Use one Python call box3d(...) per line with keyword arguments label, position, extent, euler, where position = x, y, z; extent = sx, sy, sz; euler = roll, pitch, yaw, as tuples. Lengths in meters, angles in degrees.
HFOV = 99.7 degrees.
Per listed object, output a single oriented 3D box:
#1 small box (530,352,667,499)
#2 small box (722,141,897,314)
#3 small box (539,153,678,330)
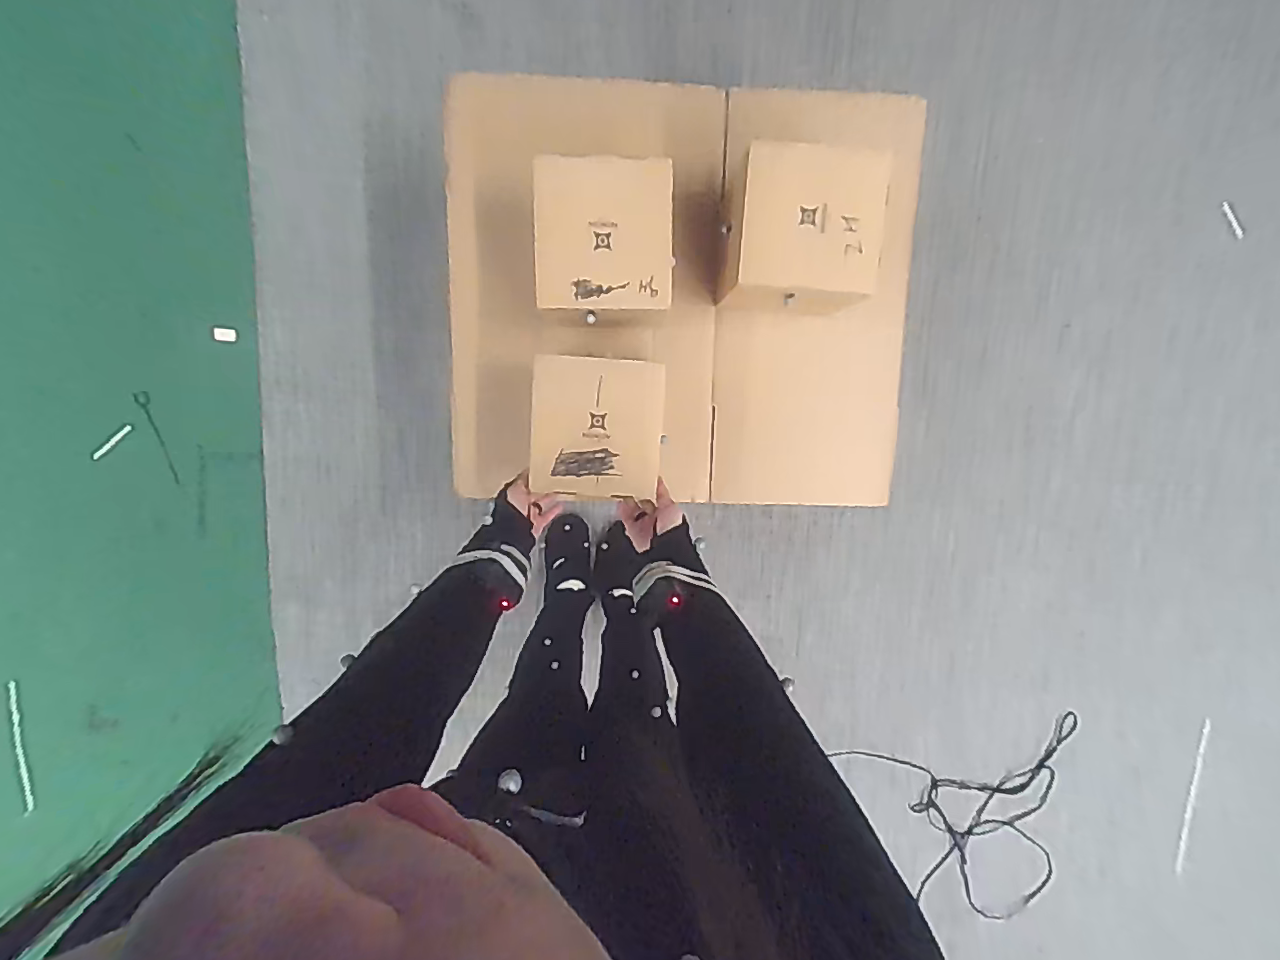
box3d(label="small box", position=(-0.054, -0.078, 0.755), extent=(0.168, 0.176, 0.179), euler=(3, 98, -2))
box3d(label="small box", position=(0.211, -0.324, 0.727), extent=(0.179, 0.176, 0.168), euler=(4, 99, -1))
box3d(label="small box", position=(-0.041, -0.304, 0.721), extent=(0.168, 0.176, 0.179), euler=(0, 98, -1))
